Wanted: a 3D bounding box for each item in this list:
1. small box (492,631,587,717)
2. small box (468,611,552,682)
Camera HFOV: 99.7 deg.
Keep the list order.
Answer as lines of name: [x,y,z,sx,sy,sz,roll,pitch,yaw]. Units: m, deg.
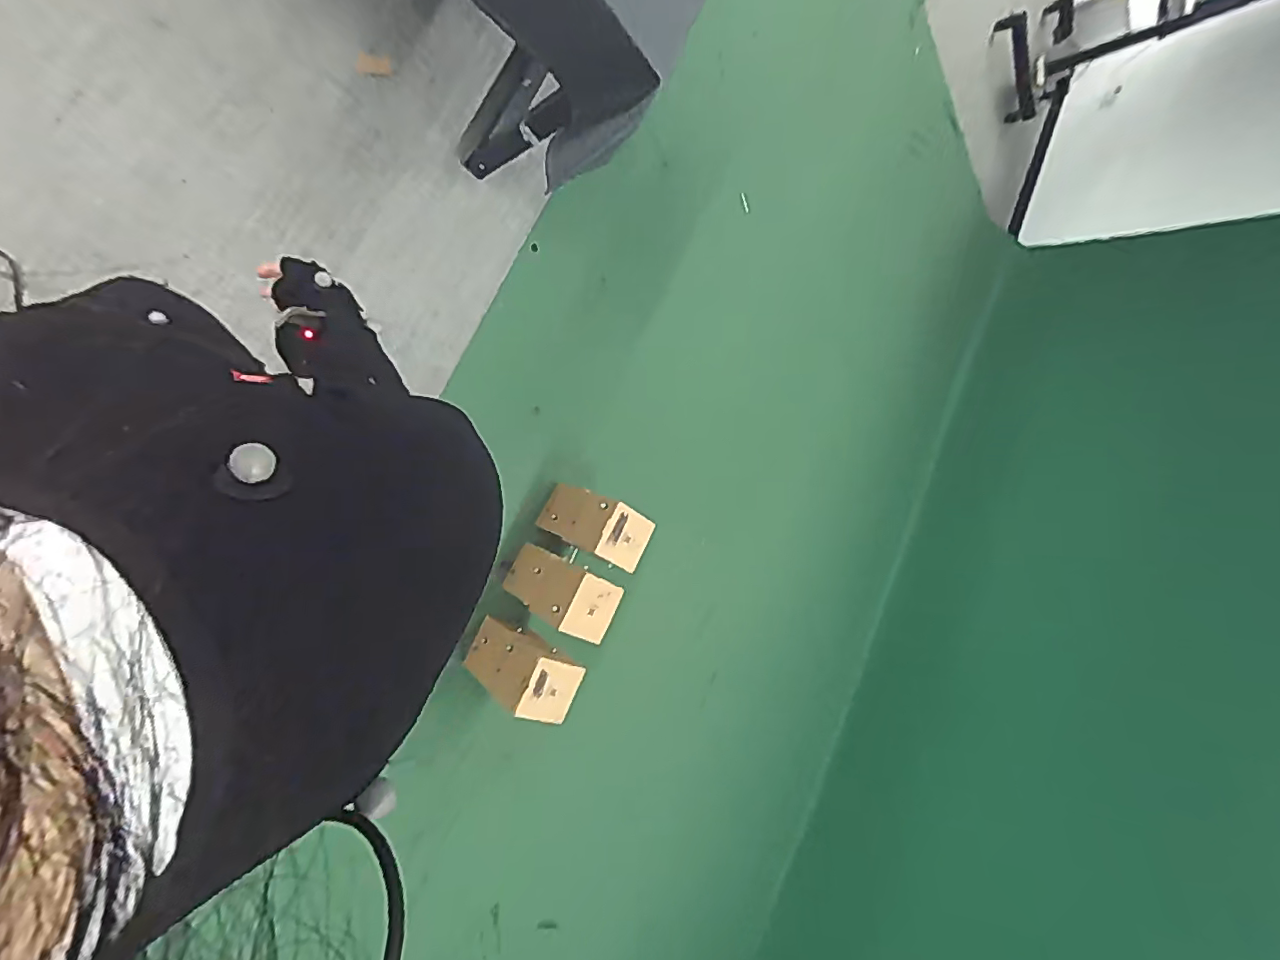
small box: [-0.292,0.551,1.548,0.179,0.176,0.168,32,78,-40]
small box: [-0.397,0.525,1.672,0.179,0.176,0.168,33,78,-39]
